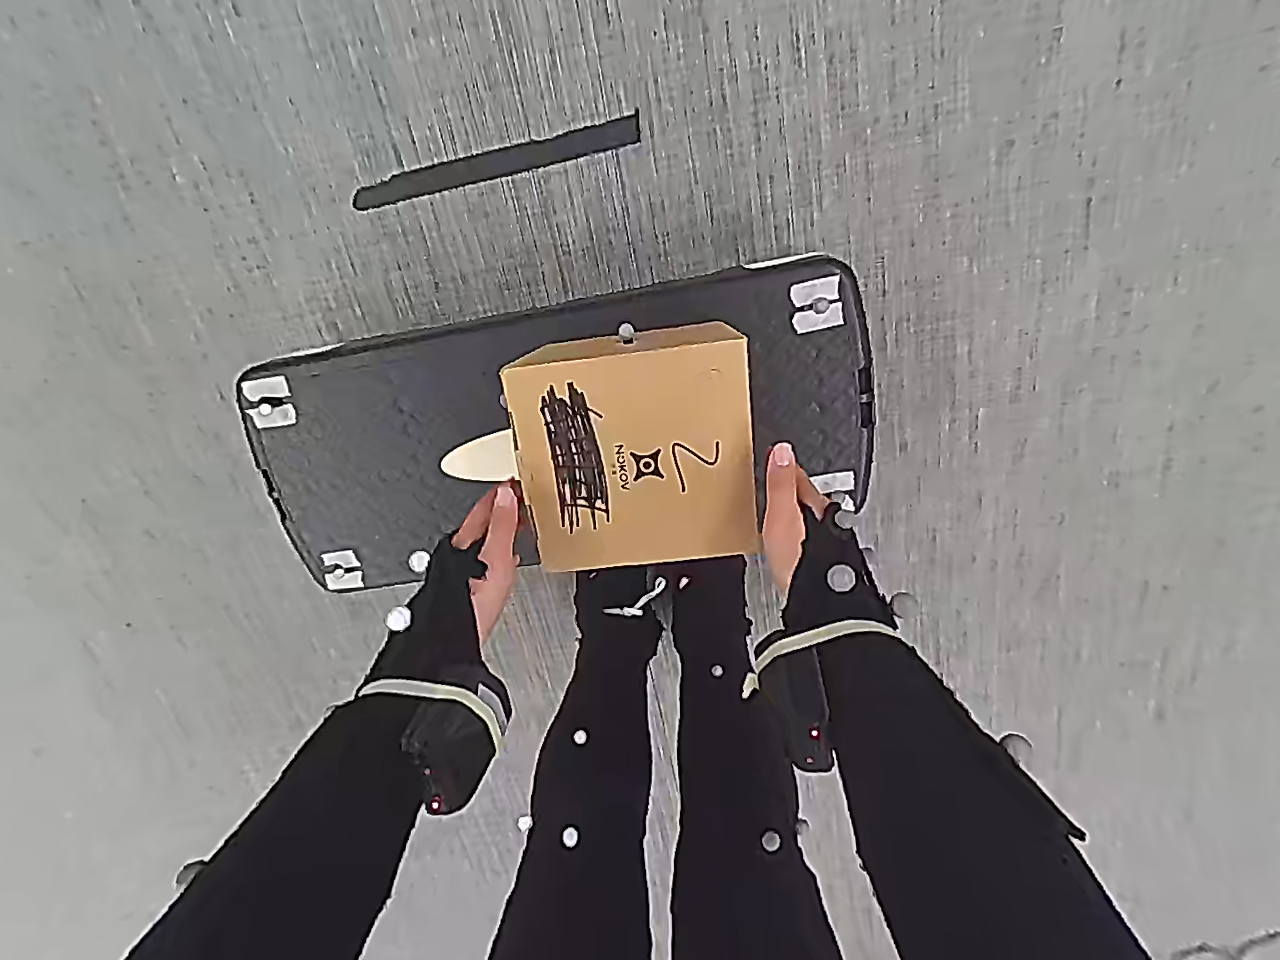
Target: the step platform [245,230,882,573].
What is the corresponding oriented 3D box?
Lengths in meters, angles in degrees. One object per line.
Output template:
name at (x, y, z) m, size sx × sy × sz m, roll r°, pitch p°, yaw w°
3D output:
step platform at (-0.080, -0.087, 0.651) m, size 0.684 × 0.204 × 0.286 m, roll -9°, pitch 108°, yaw 6°
